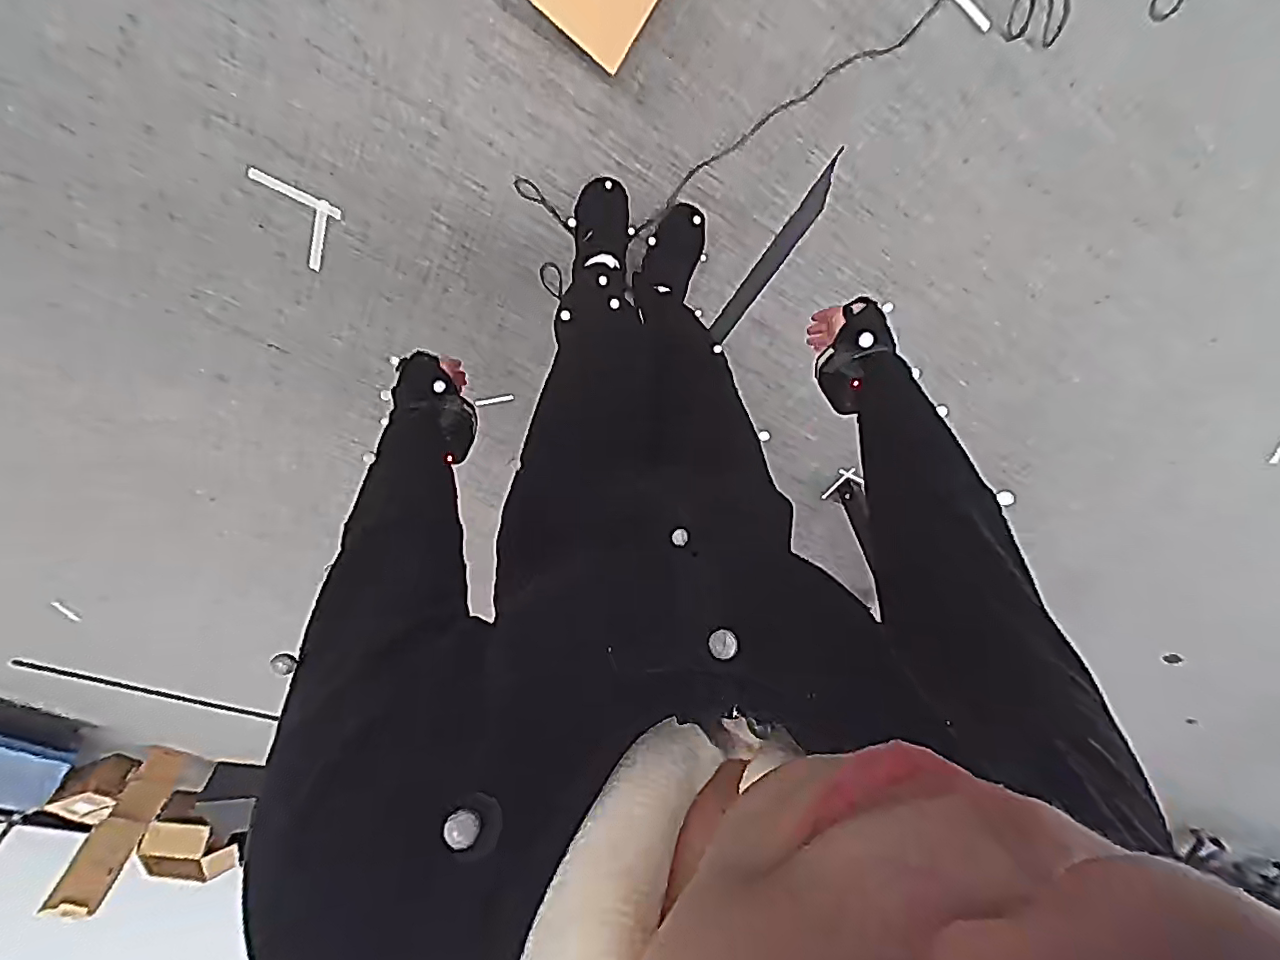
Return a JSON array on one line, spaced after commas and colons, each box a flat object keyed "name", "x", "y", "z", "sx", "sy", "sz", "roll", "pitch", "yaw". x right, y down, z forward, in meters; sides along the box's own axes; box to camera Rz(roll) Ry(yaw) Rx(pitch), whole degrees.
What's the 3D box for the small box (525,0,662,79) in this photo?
[{"name": "small box", "x": -0.054, "y": -0.769, "z": 0.835, "sx": 0.168, "sy": 0.176, "sz": 0.179, "roll": 30, "pitch": 124, "yaw": -22}]
